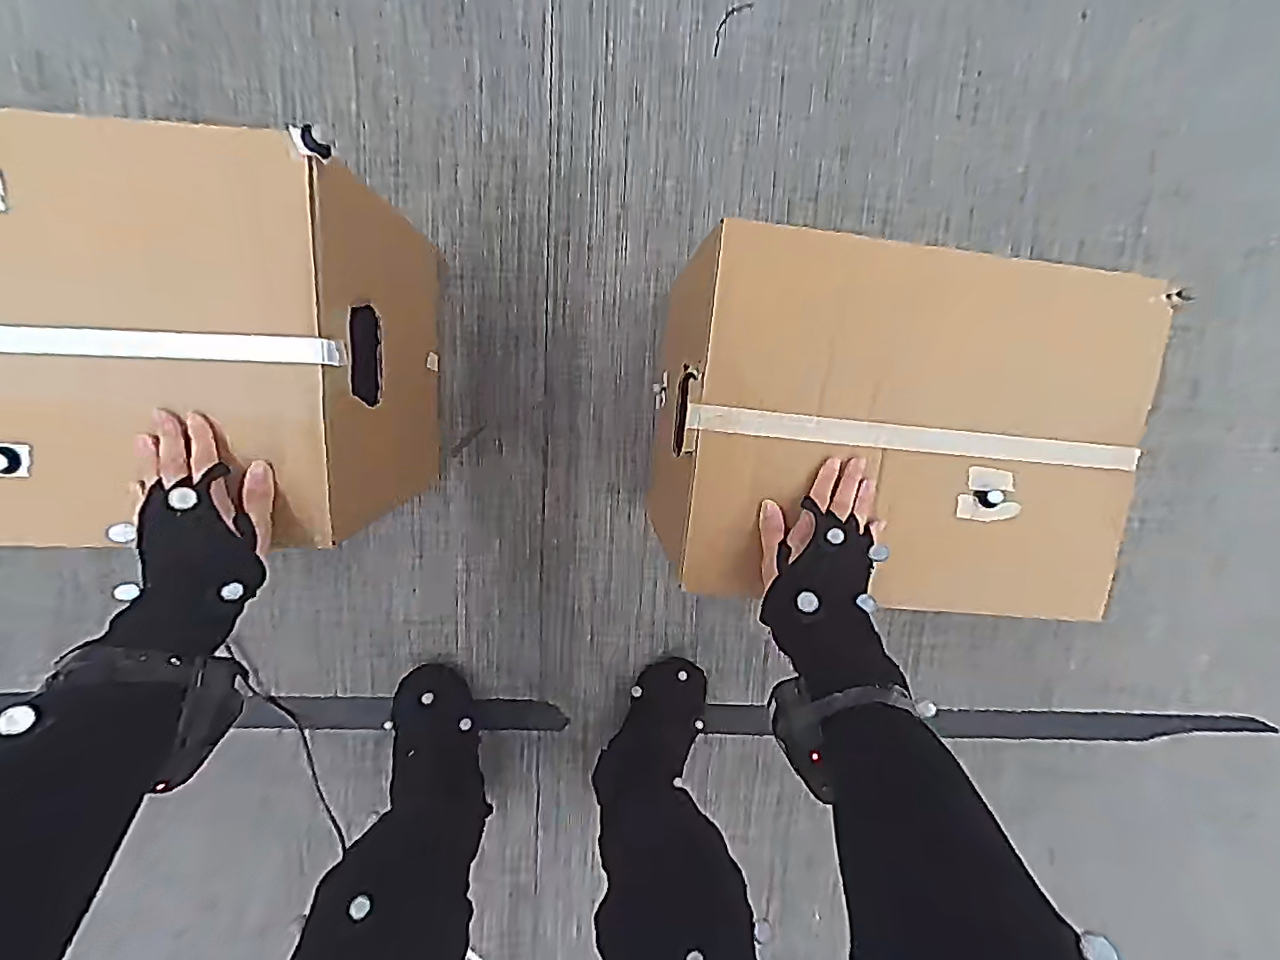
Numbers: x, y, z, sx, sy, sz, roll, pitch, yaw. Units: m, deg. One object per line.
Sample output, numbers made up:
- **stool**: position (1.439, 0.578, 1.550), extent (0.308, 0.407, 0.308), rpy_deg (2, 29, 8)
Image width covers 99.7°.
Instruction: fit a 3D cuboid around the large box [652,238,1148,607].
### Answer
- **large box**: position (0.238, -0.059, 0.636), extent (0.408, 0.320, 0.320), rpy_deg (5, 99, -6)
